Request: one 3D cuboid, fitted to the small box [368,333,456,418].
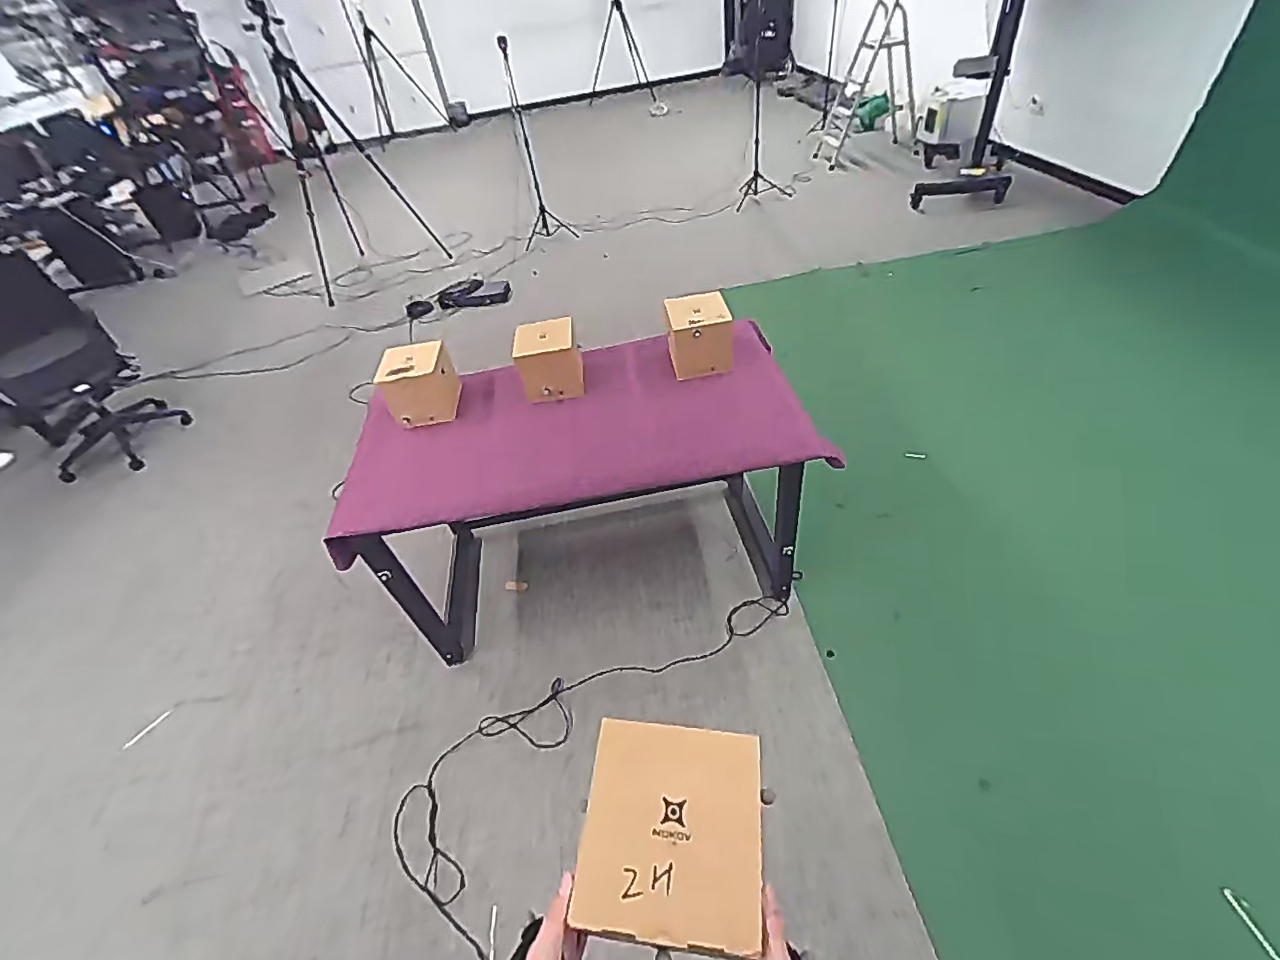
[{"bbox_3d":[-0.639,-0.291,1.539,0.168,0.176,0.179,-8,46,-1],"label":"small box"}]

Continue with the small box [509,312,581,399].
[{"bbox_3d":[-0.268,-0.358,1.554,0.168,0.176,0.179,-8,46,2],"label":"small box"}]

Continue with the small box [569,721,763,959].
[{"bbox_3d":[0.034,0.379,0.564,0.168,0.176,0.179,4,49,8],"label":"small box"}]

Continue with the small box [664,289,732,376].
[{"bbox_3d":[0.164,-0.422,1.549,0.168,0.176,0.179,-10,45,1],"label":"small box"}]
